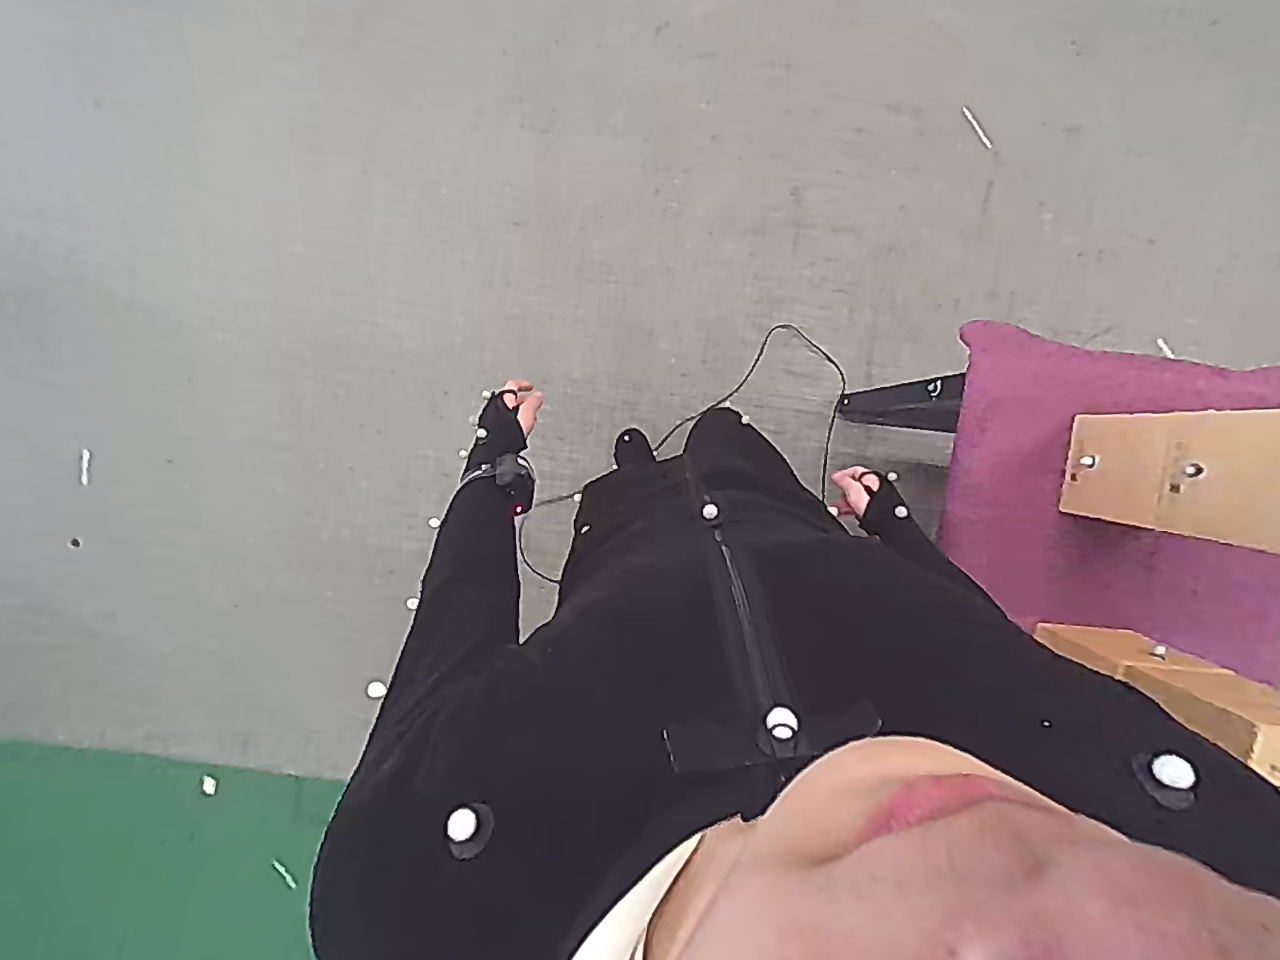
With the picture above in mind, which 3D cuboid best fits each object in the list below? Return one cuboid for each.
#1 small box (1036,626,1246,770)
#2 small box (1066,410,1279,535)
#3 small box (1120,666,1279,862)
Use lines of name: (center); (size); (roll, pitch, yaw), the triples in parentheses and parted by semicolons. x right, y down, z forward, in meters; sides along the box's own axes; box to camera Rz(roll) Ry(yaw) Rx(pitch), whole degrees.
small box: (0.777, 0.341, 0.859); (0.179, 0.176, 0.168); (5, 94, -3)
small box: (0.814, -0.016, 0.830); (0.179, 0.176, 0.168); (4, 94, -1)
small box: (0.787, 0.355, 0.695); (0.179, 0.176, 0.168); (6, 93, -2)
